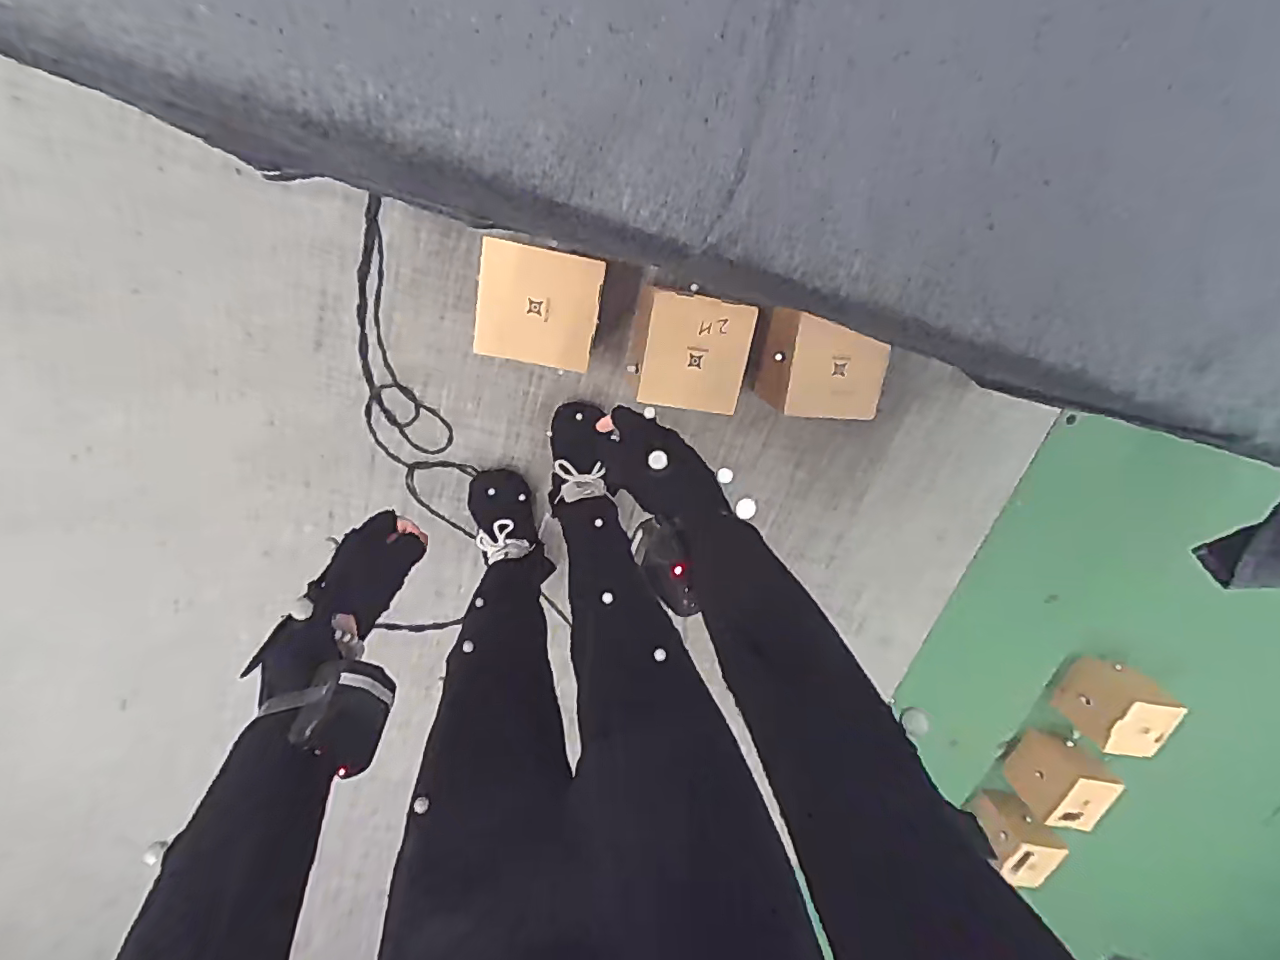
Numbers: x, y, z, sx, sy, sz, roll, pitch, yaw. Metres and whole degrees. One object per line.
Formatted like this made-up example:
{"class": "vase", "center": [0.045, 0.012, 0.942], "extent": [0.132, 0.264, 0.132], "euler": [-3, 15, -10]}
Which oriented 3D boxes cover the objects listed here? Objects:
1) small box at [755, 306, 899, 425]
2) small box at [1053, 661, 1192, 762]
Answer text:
{"class": "small box", "center": [0.314, -0.206, 0.948], "extent": [0.168, 0.176, 0.179], "euler": [2, 112, -8]}
{"class": "small box", "center": [1.244, 0.597, 1.411], "extent": [0.179, 0.176, 0.168], "euler": [12, 110, -11]}
